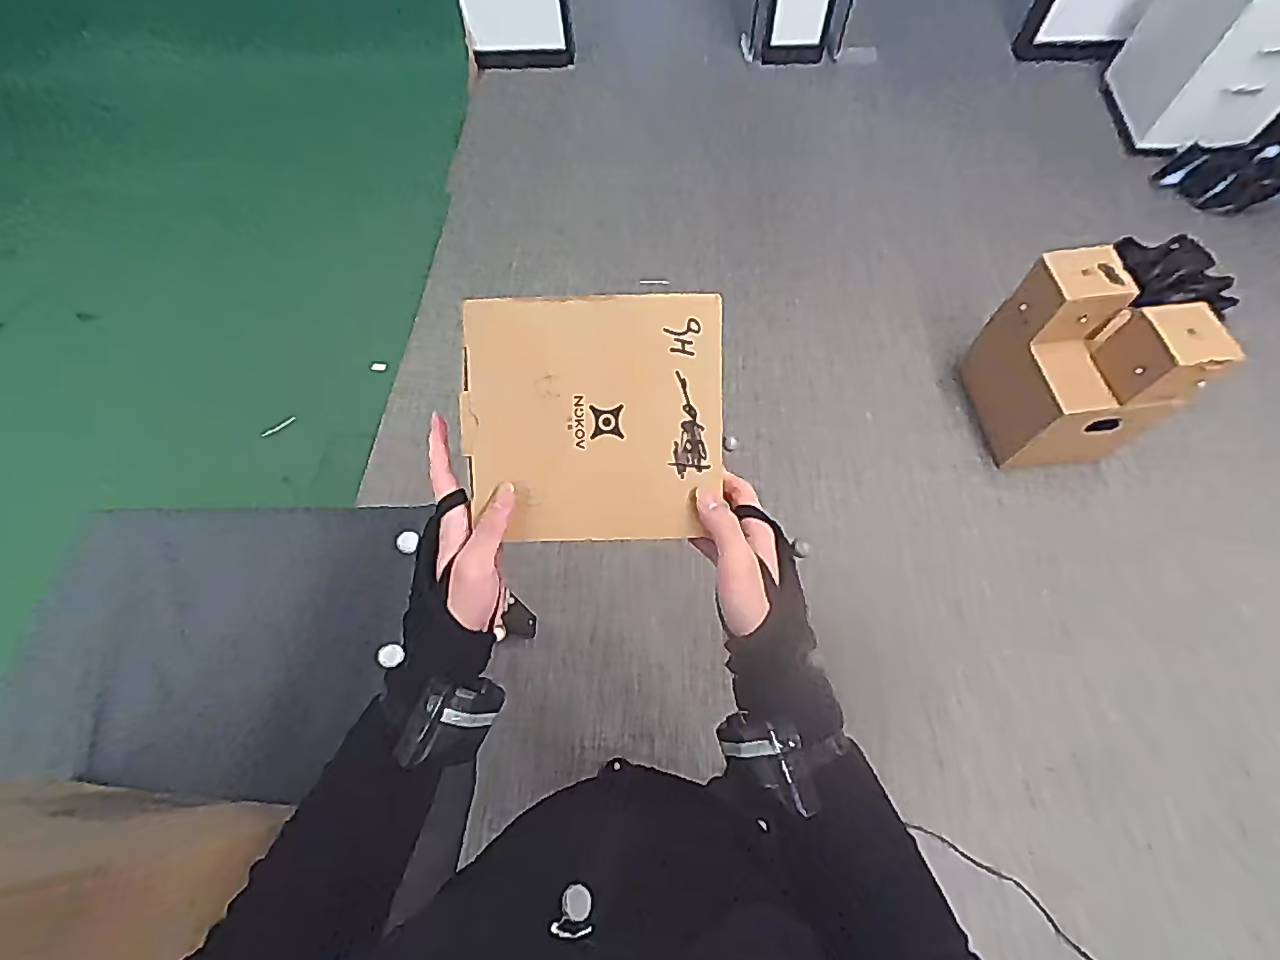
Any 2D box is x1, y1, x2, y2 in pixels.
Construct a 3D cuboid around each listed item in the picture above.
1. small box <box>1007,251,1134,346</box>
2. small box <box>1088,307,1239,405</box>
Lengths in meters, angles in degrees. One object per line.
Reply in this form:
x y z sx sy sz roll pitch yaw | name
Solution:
1.128 -0.475 1.433 0.179 0.176 0.168 -5 63 4 | small box
1.281 -0.299 1.339 0.168 0.176 0.179 -6 62 -4 | small box
